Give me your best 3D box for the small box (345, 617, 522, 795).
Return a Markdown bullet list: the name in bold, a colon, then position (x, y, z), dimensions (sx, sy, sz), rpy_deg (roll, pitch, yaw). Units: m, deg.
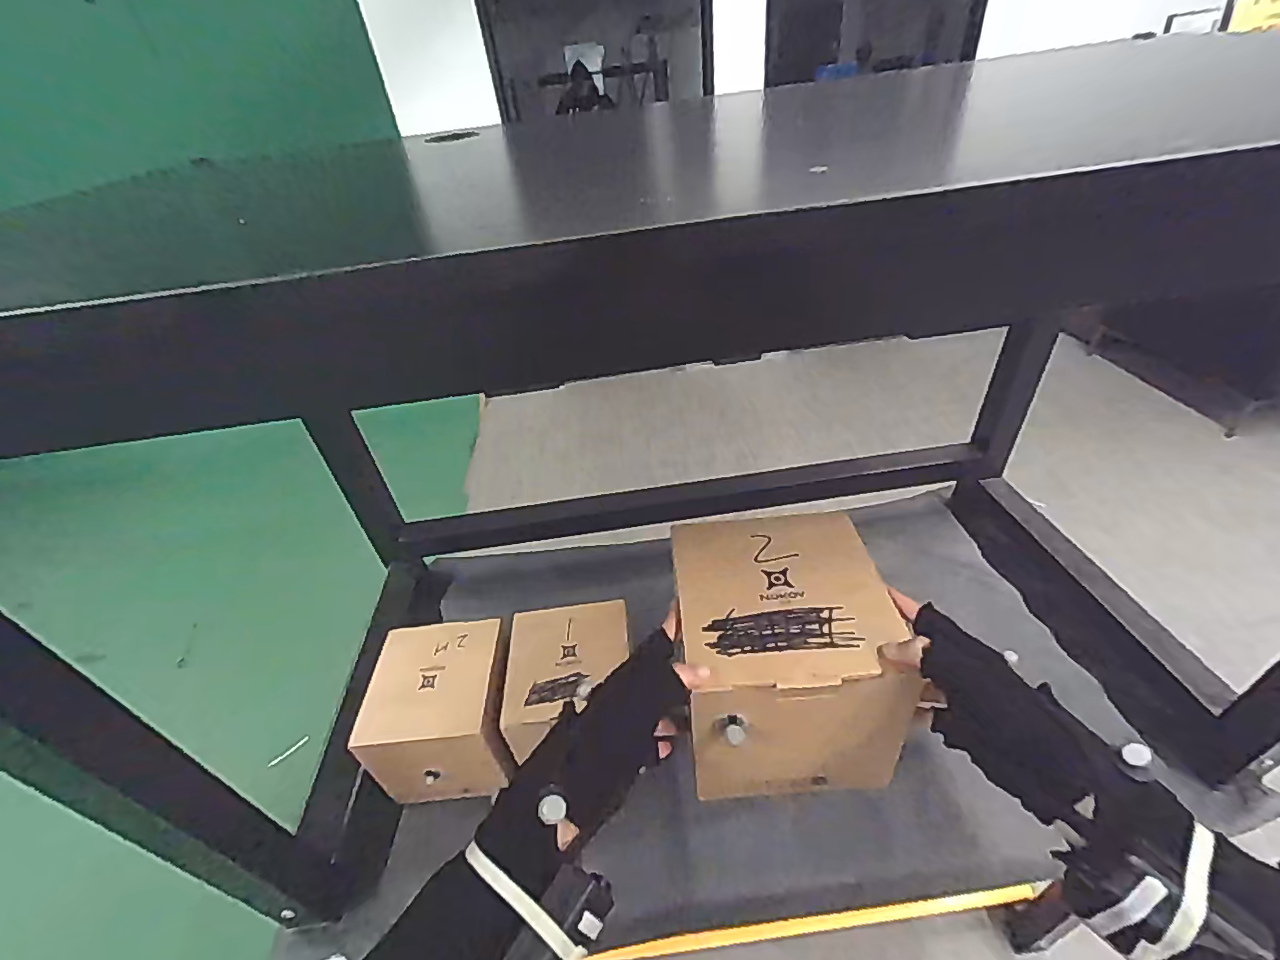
- **small box**: position (-0.270, 0.321, 0.760), dimensions (0.168, 0.176, 0.179), rpy_deg (-5, 37, 1)
